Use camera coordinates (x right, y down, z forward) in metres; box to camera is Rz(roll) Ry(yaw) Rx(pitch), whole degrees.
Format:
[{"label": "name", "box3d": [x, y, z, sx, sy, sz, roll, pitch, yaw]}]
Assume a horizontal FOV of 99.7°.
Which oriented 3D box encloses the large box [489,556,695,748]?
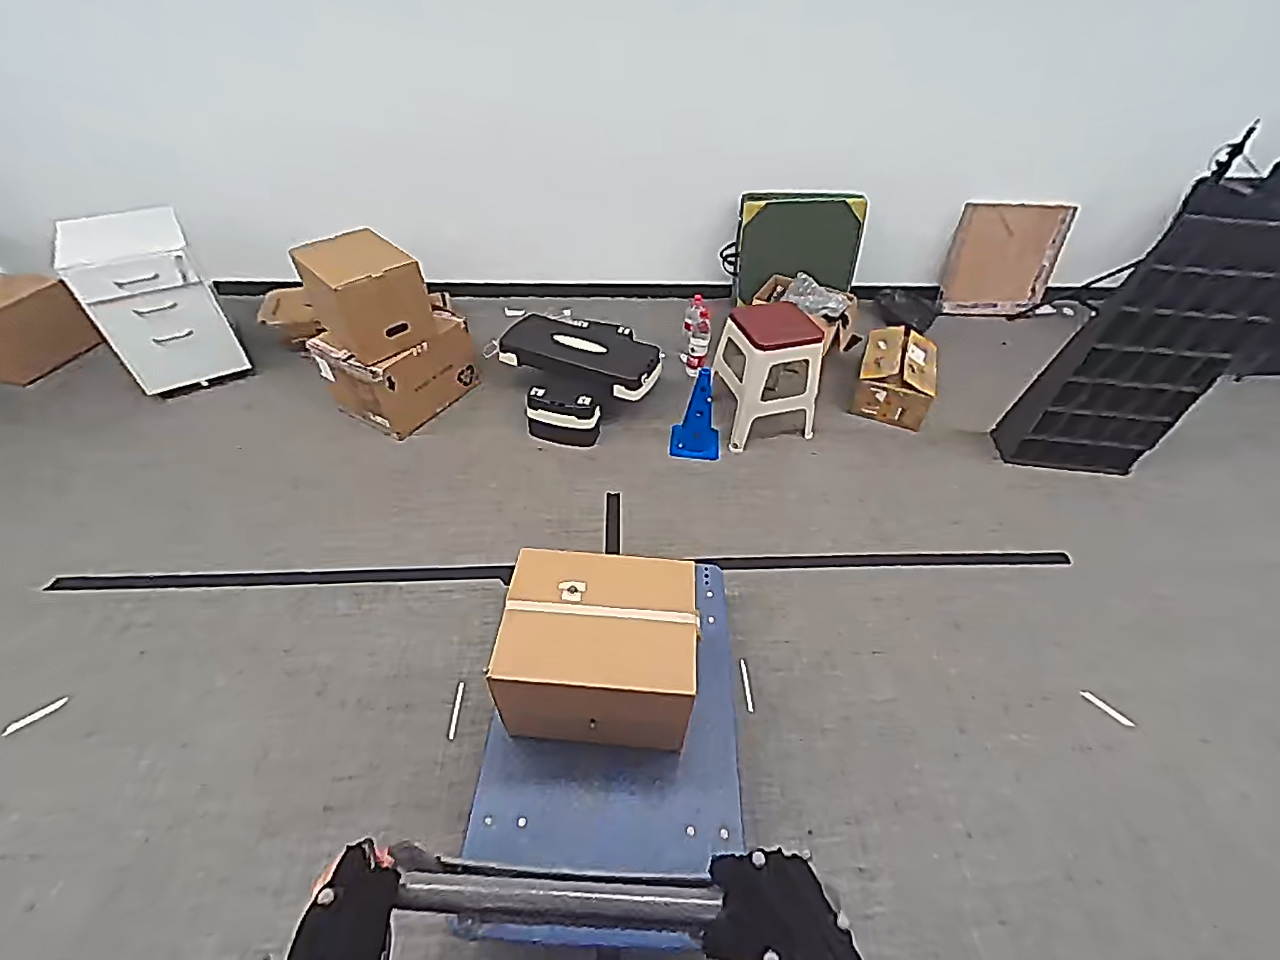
[{"label": "large box", "box3d": [-0.087, 0.398, 1.243, 0.408, 0.320, 0.320, 4, 45, 2]}]
